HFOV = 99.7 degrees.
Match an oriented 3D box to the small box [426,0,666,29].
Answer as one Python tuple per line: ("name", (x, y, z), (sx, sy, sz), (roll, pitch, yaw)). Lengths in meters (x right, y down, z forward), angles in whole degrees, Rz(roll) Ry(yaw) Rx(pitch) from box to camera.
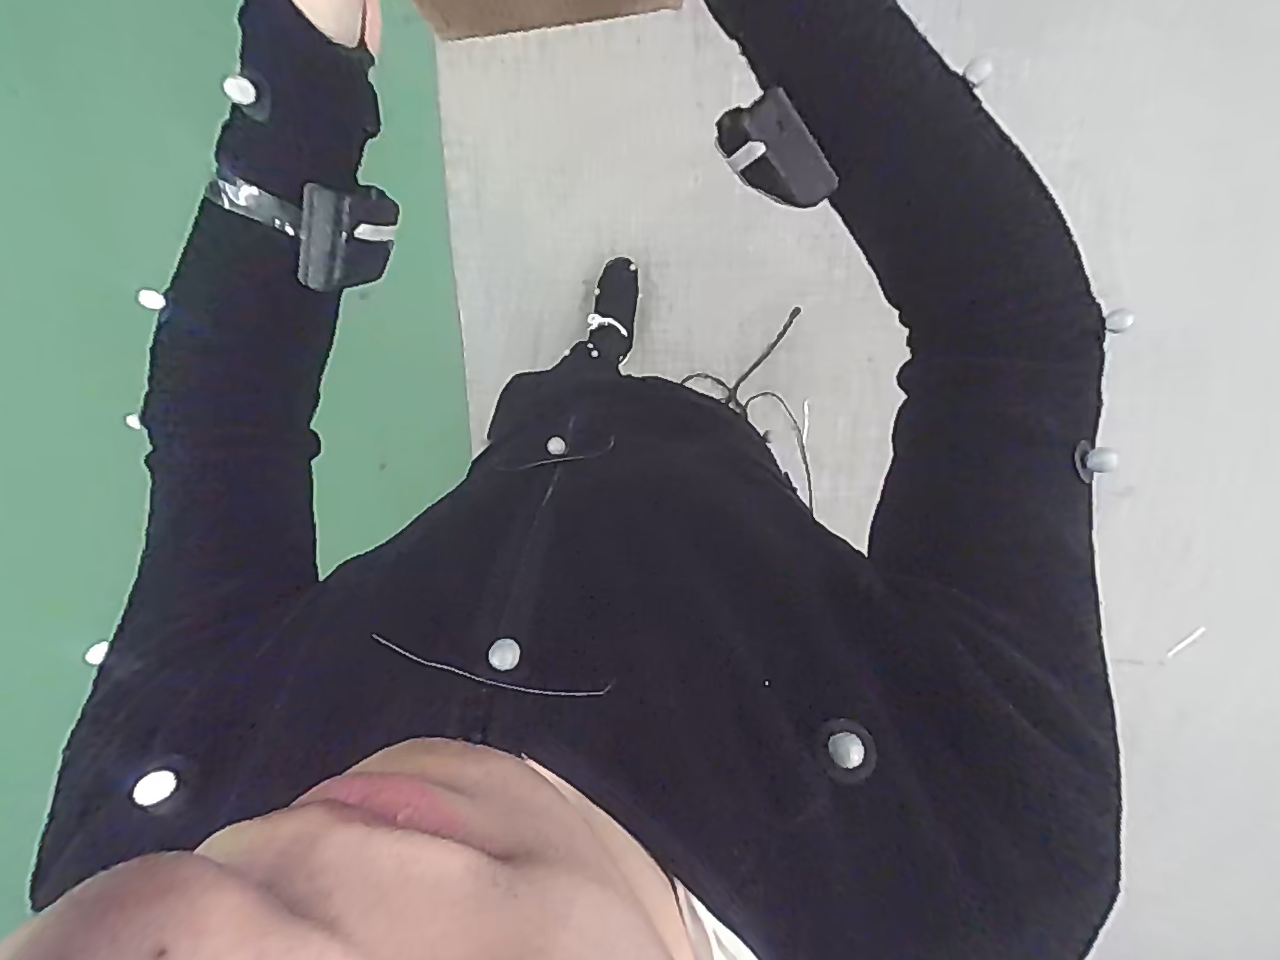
("small box", (-0.066, -0.379, 0.280), (0.179, 0.176, 0.168), (-2, 99, 6))
